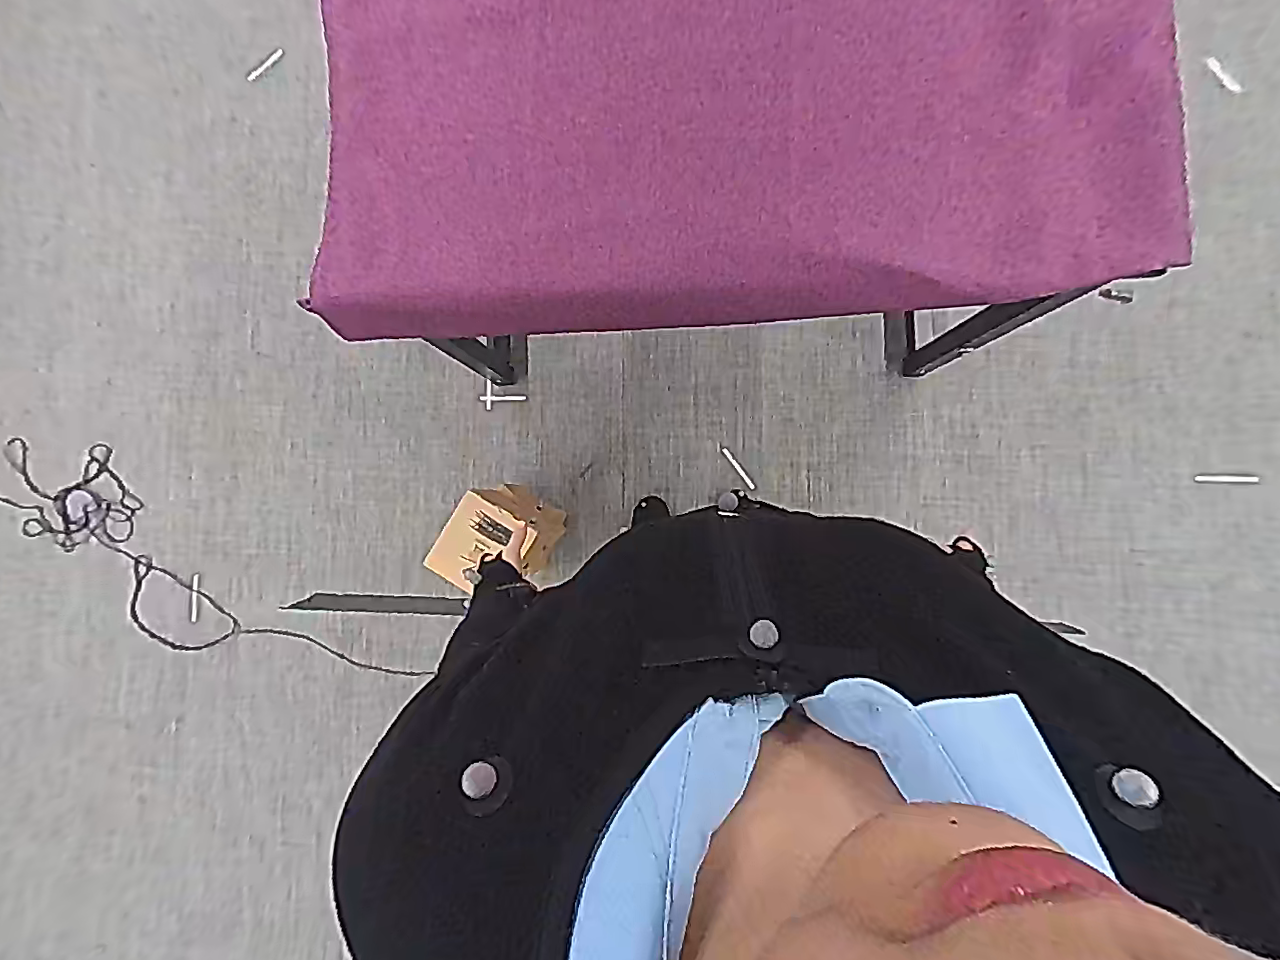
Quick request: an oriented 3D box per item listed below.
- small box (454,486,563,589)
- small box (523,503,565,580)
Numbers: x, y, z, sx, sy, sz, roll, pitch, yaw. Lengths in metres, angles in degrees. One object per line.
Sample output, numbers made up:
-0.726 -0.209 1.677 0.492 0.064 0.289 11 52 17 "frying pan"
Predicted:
-0.302 0.132 1.291 0.168 0.176 0.179 44 90 4 "small box"
-0.315 0.148 1.456 0.168 0.176 0.179 23 89 4 "small box"
